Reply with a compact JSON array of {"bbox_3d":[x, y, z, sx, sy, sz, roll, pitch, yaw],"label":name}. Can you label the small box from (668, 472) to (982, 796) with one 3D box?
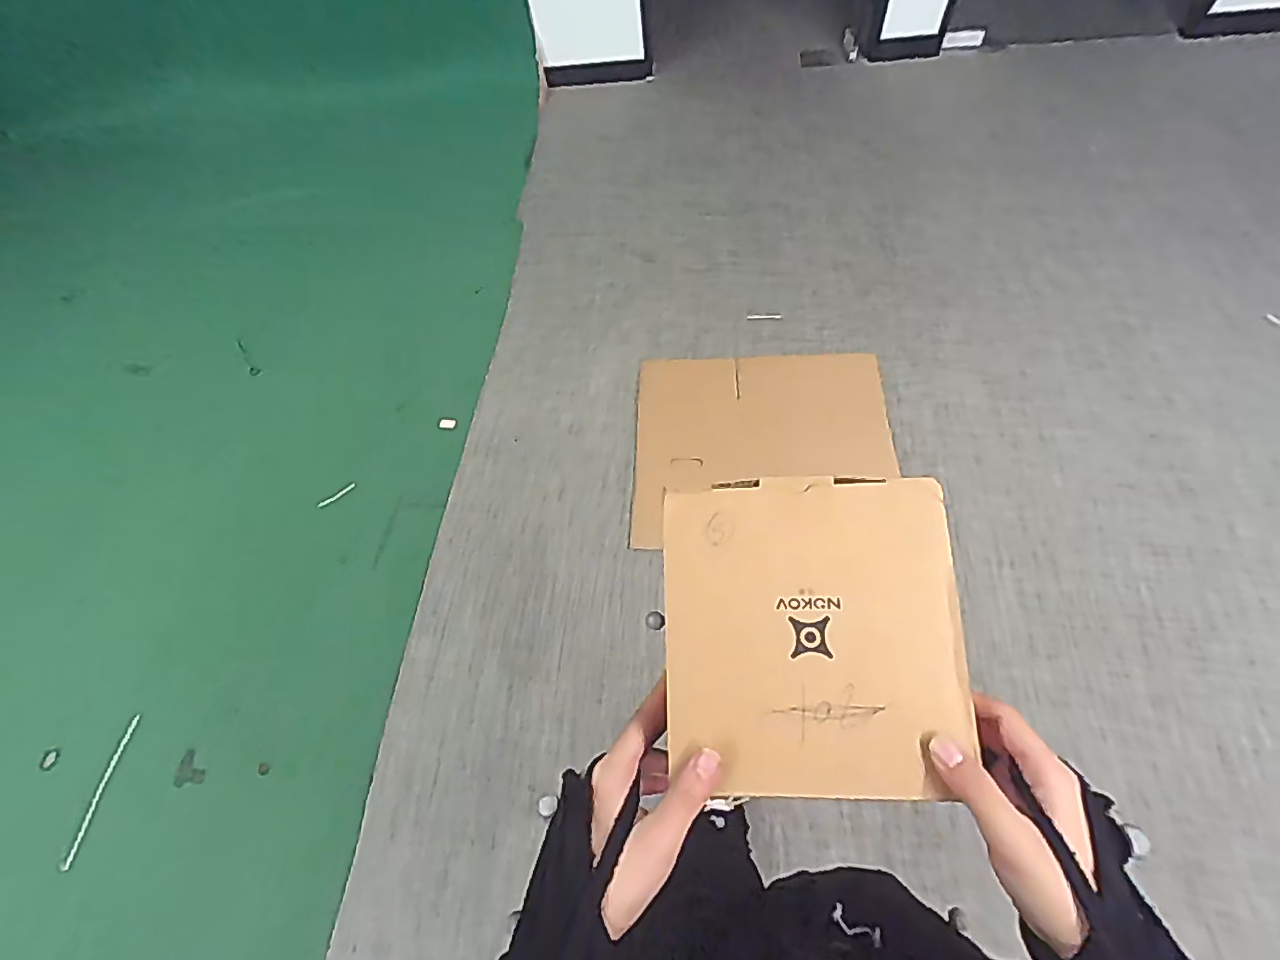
[{"bbox_3d":[0.105,0.099,0.384,0.168,0.176,0.179,-2,77,7],"label":"small box"}]
